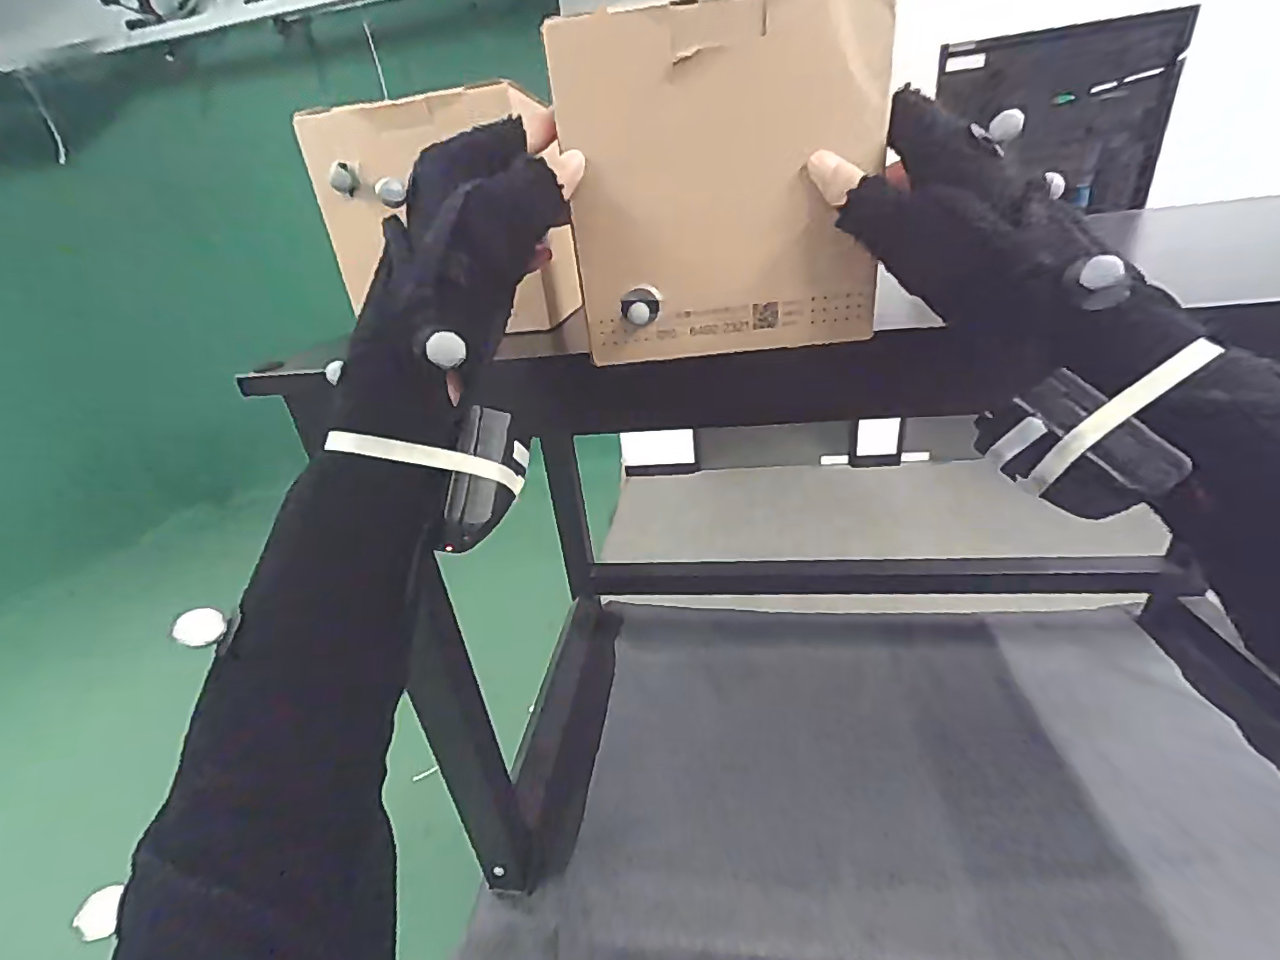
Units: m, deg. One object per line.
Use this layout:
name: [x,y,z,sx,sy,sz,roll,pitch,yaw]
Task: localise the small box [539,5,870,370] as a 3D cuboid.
small box: [0.044,-0.176,0.368,0.168,0.176,0.179,-4,26,5]
